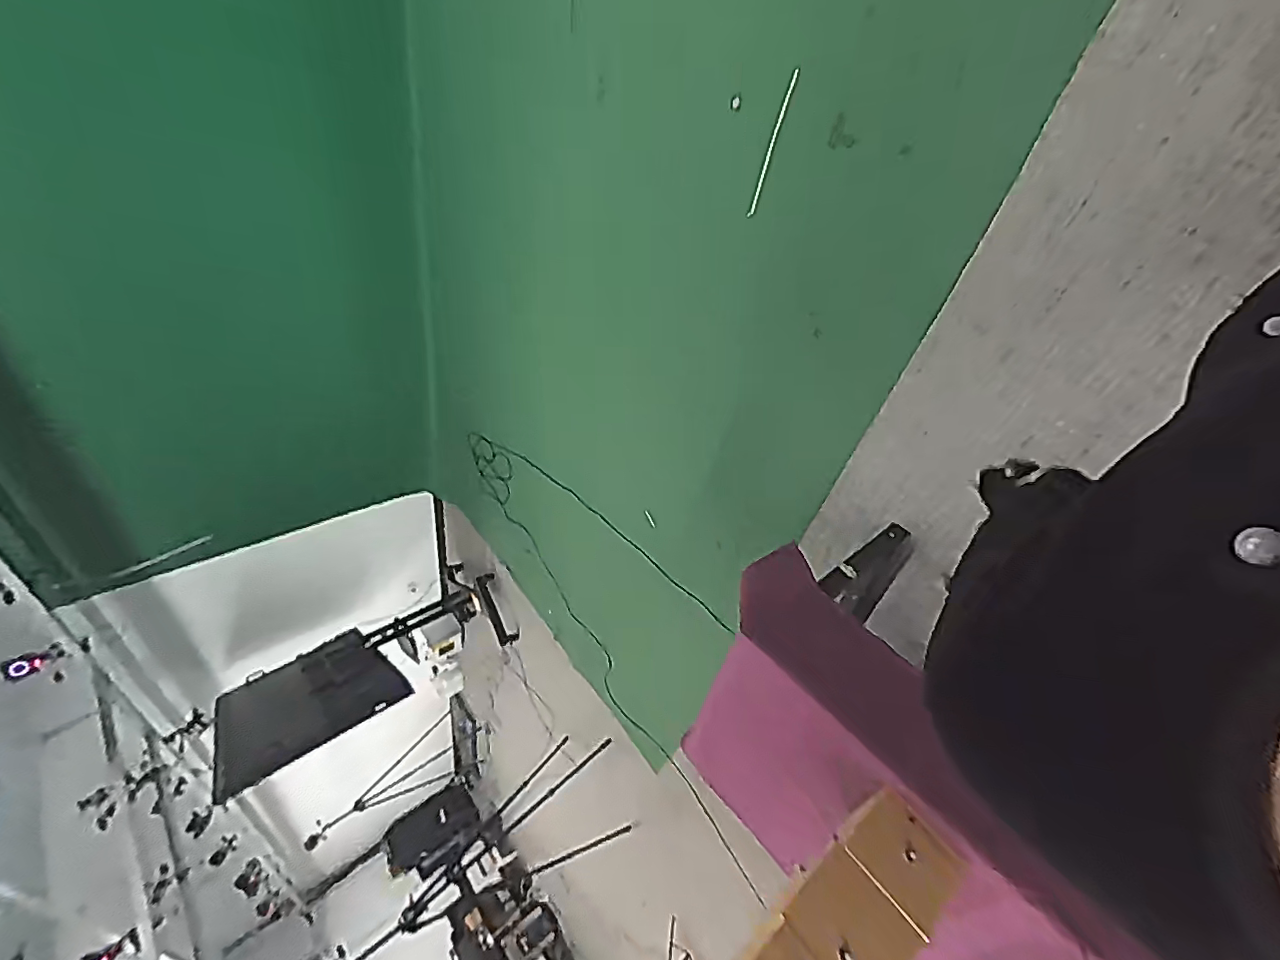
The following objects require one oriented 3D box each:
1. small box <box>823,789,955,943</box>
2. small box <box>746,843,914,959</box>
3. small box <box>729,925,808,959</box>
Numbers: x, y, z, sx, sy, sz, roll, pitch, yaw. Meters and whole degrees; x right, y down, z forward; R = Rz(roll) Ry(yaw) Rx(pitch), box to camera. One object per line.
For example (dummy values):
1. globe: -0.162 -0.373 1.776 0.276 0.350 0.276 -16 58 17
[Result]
1. small box: 0.445 0.715 0.998 0.168 0.176 0.179 43 138 29
2. small box: 0.317 0.764 0.906 0.179 0.176 0.168 44 138 29
3. small box: 0.195 0.822 0.813 0.168 0.176 0.179 43 137 29
